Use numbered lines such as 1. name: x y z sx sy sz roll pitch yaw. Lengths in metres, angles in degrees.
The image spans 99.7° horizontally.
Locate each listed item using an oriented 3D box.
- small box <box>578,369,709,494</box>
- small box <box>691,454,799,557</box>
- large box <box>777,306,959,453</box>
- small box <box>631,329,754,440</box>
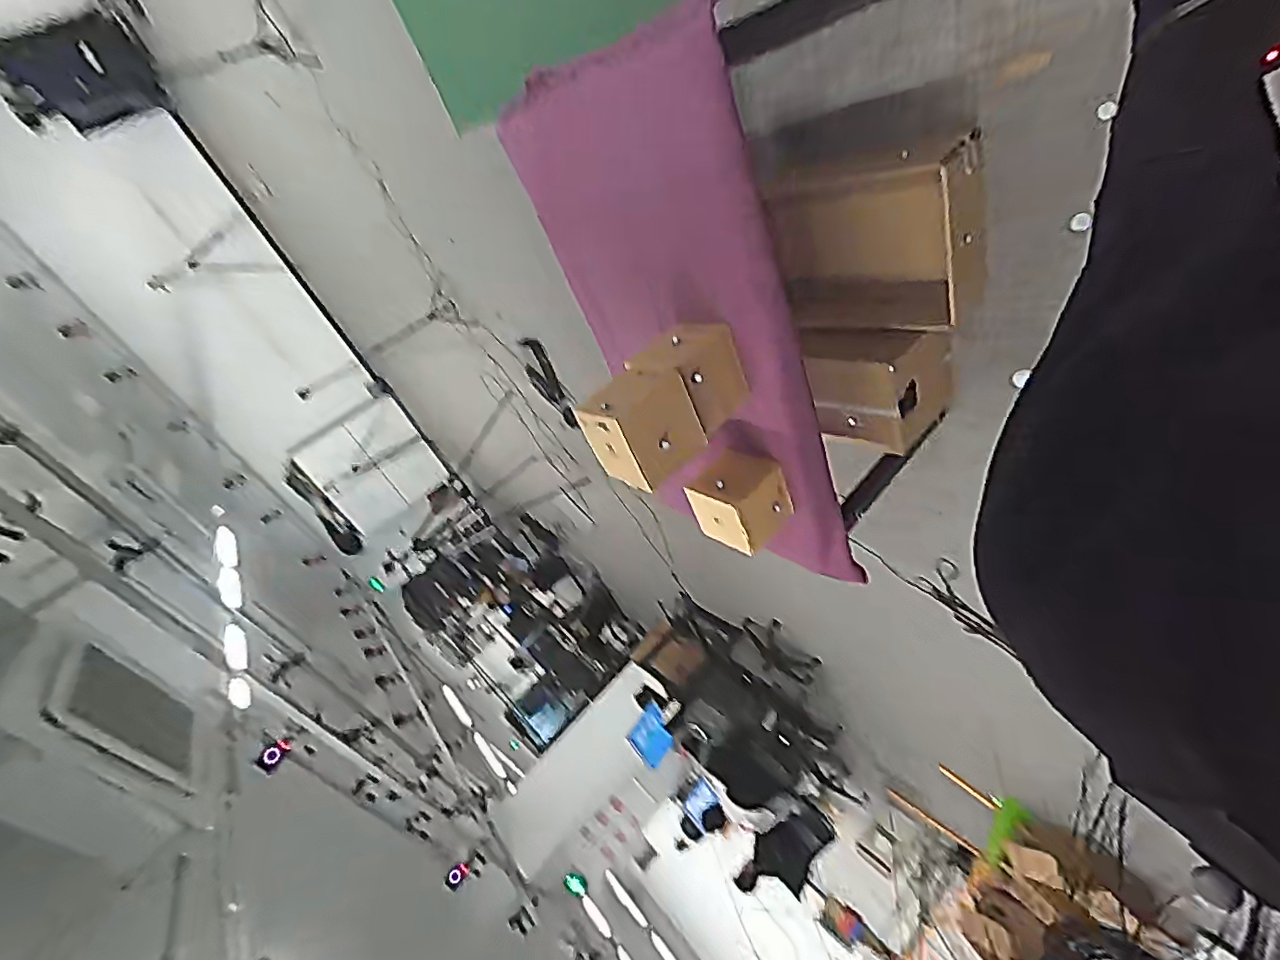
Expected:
1. small box: 0.014 -0.104 1.100 0.168 0.176 0.179 19 145 52
2. small box: 0.263 0.055 1.346 0.179 0.176 0.168 21 145 50
3. large box: 0.705 -0.322 1.676 0.408 0.320 0.320 19 144 49
4. small box: 0.117 -0.212 1.170 0.168 0.176 0.179 22 147 51
